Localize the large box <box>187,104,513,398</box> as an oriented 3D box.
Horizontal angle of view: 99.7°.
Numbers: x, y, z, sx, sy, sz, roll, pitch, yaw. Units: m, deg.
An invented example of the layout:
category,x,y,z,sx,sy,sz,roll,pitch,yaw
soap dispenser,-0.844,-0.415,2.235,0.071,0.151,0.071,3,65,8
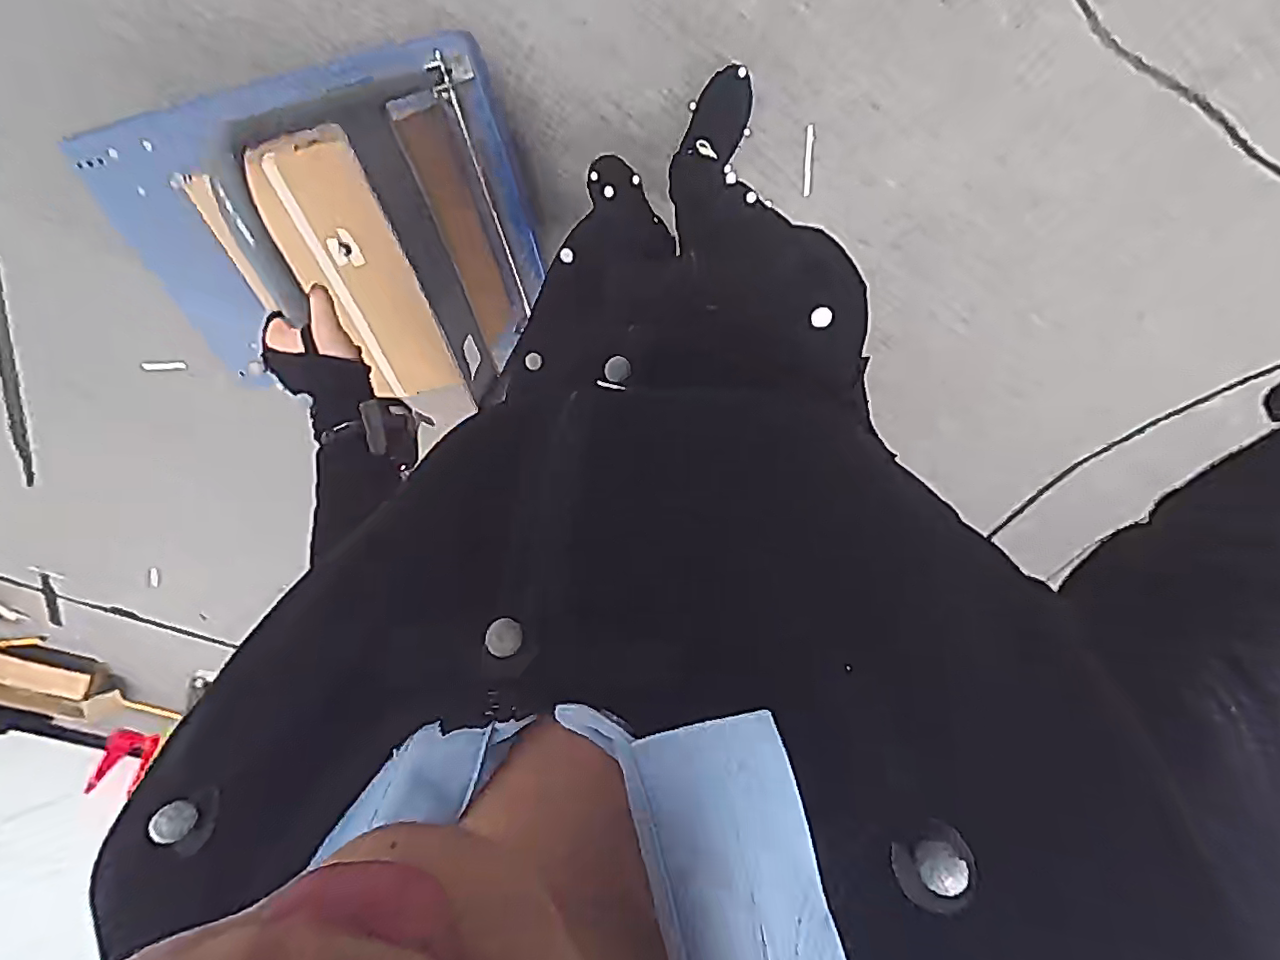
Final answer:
category,x,y,z,sx,sy,sz,roll,pitch,yaw
large box,-0.480,-0.420,1.015,0.320,0.320,0.408,-7,130,9
